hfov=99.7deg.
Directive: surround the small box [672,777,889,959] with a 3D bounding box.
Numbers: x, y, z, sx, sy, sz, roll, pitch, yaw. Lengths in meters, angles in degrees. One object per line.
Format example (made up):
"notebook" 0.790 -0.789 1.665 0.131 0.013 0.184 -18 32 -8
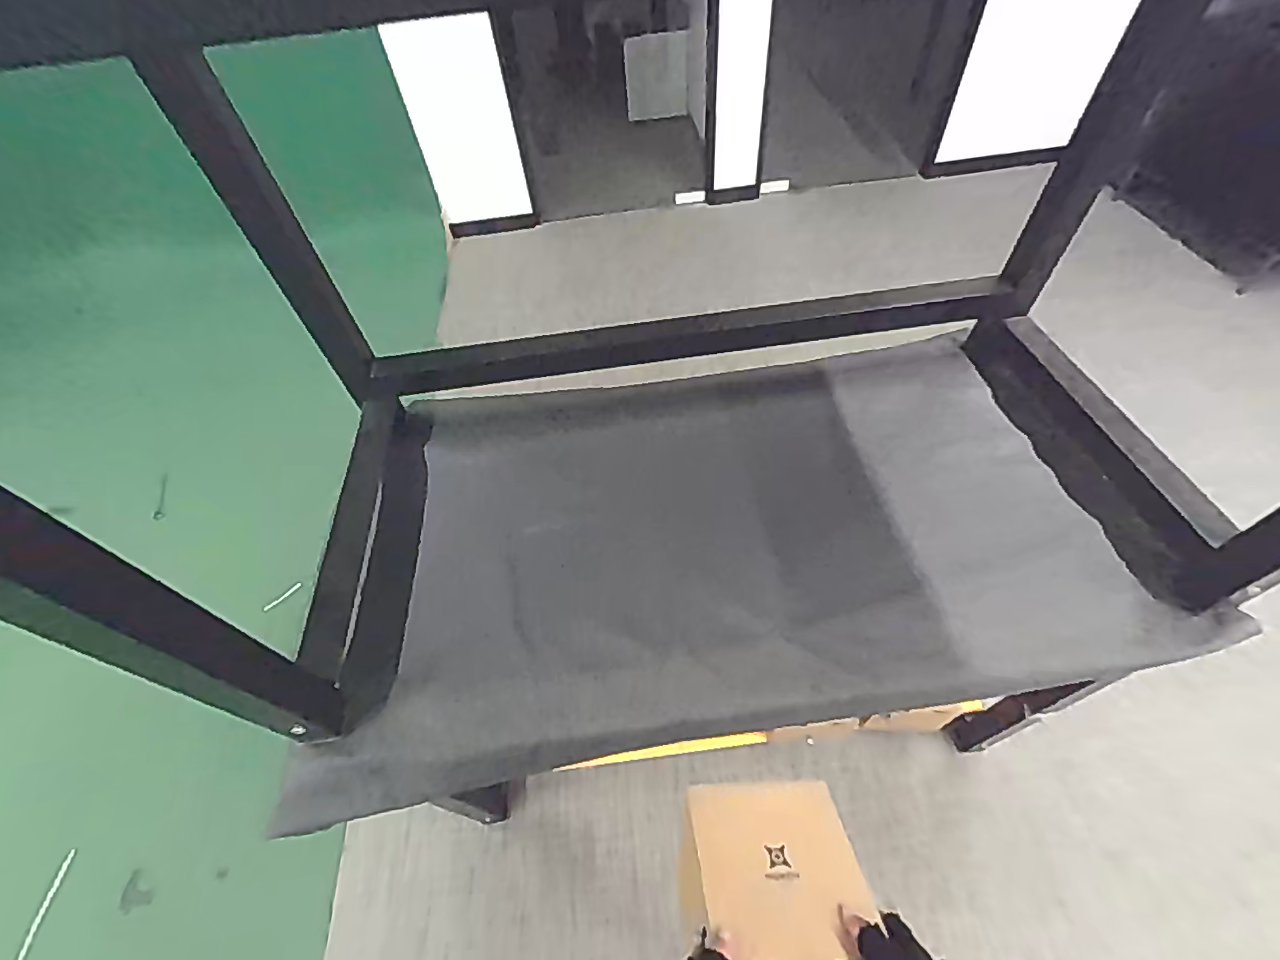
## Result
"small box" 0.129 0.452 0.577 0.168 0.176 0.179 1 25 -5
